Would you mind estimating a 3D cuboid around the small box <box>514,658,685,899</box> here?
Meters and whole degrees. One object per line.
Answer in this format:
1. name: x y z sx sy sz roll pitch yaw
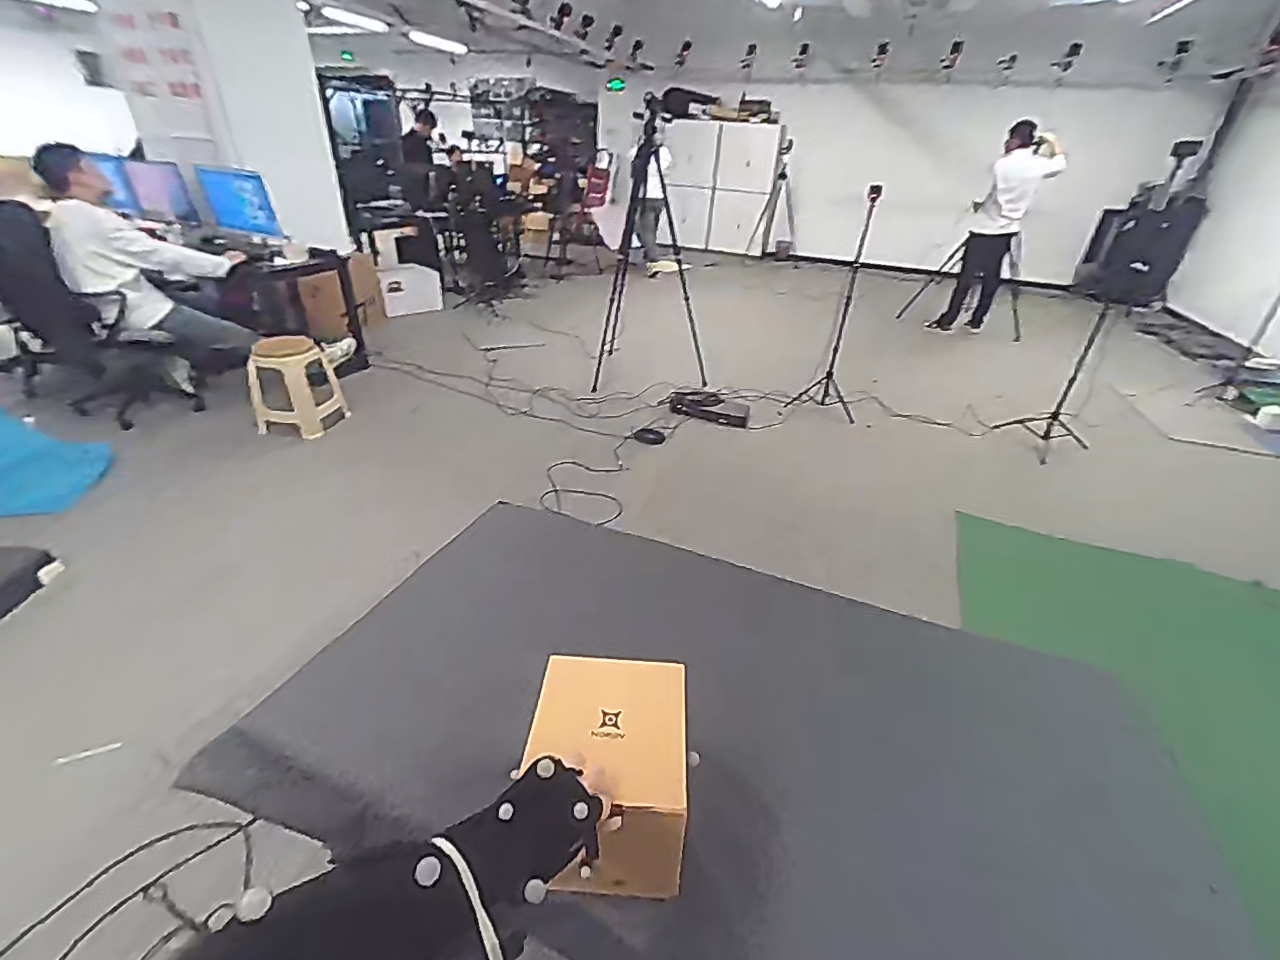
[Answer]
1. small box: -0.037 0.334 0.619 0.168 0.176 0.179 3 31 2
